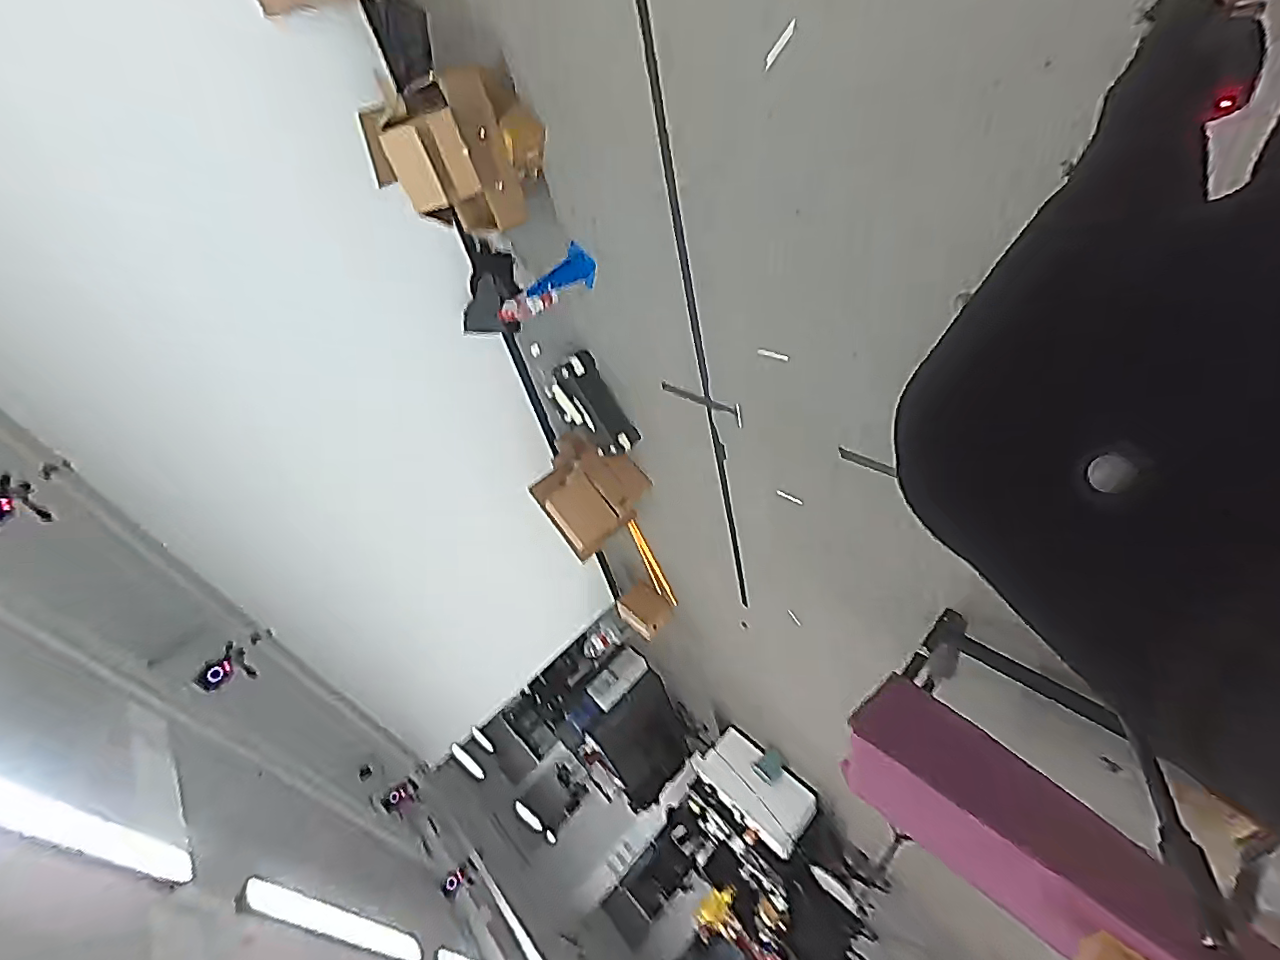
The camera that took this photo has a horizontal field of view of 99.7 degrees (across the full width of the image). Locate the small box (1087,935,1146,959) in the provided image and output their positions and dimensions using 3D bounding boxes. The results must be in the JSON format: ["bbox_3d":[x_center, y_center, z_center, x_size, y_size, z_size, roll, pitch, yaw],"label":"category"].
[{"bbox_3d":[1.416,1.486,1.576,0.168,0.176,0.179,28,146,41],"label":"small box"}]
